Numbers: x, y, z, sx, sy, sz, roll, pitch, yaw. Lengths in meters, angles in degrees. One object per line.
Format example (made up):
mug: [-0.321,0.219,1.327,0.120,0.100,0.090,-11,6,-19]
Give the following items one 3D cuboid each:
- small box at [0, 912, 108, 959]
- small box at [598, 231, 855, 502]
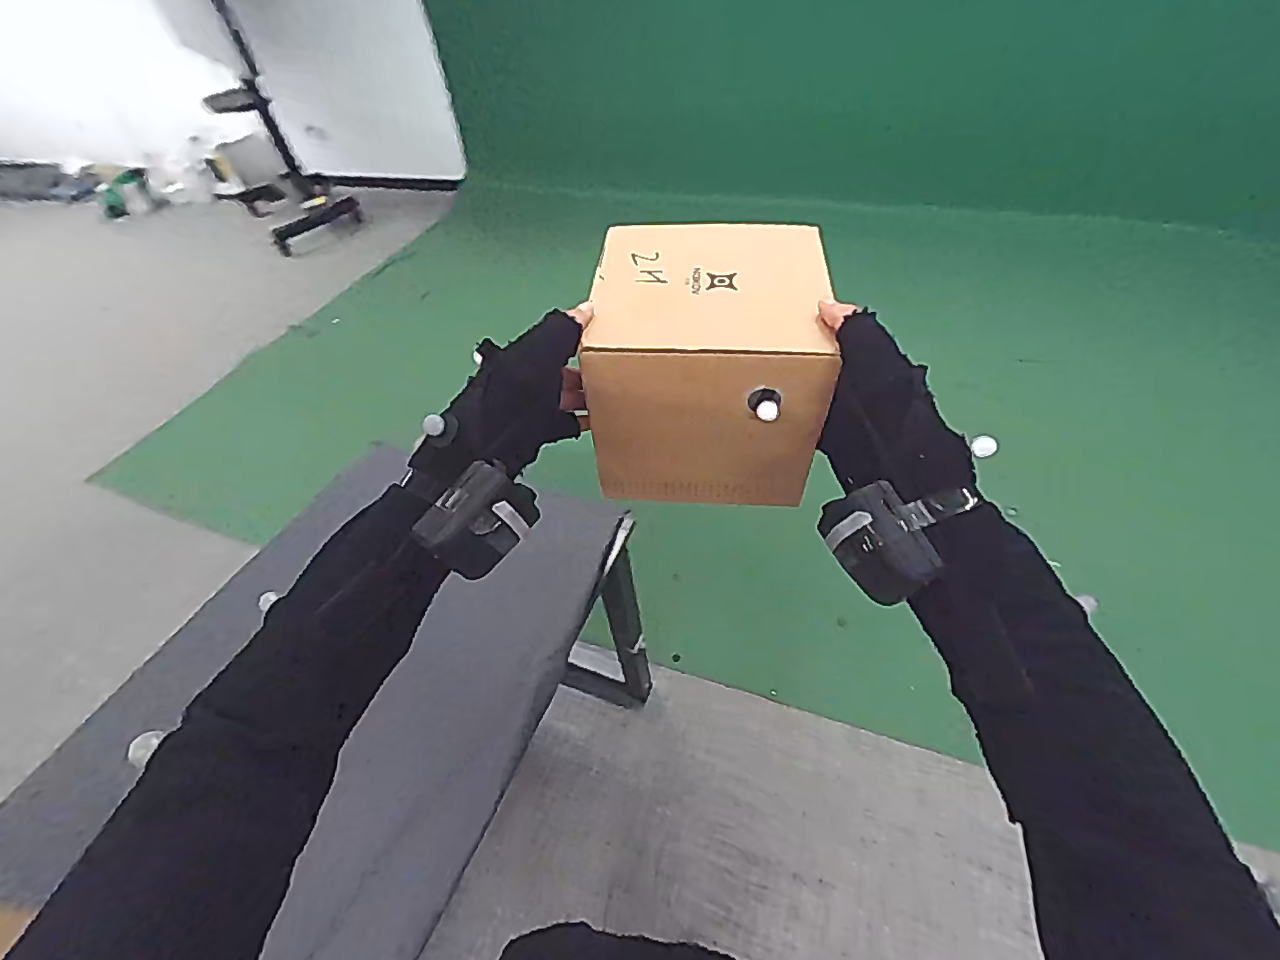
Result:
small box: [-0.624,0.522,0.477,0.168,0.176,0.179,16,50,19]
small box: [0.068,-0.095,0.475,0.179,0.176,0.168,3,51,5]
